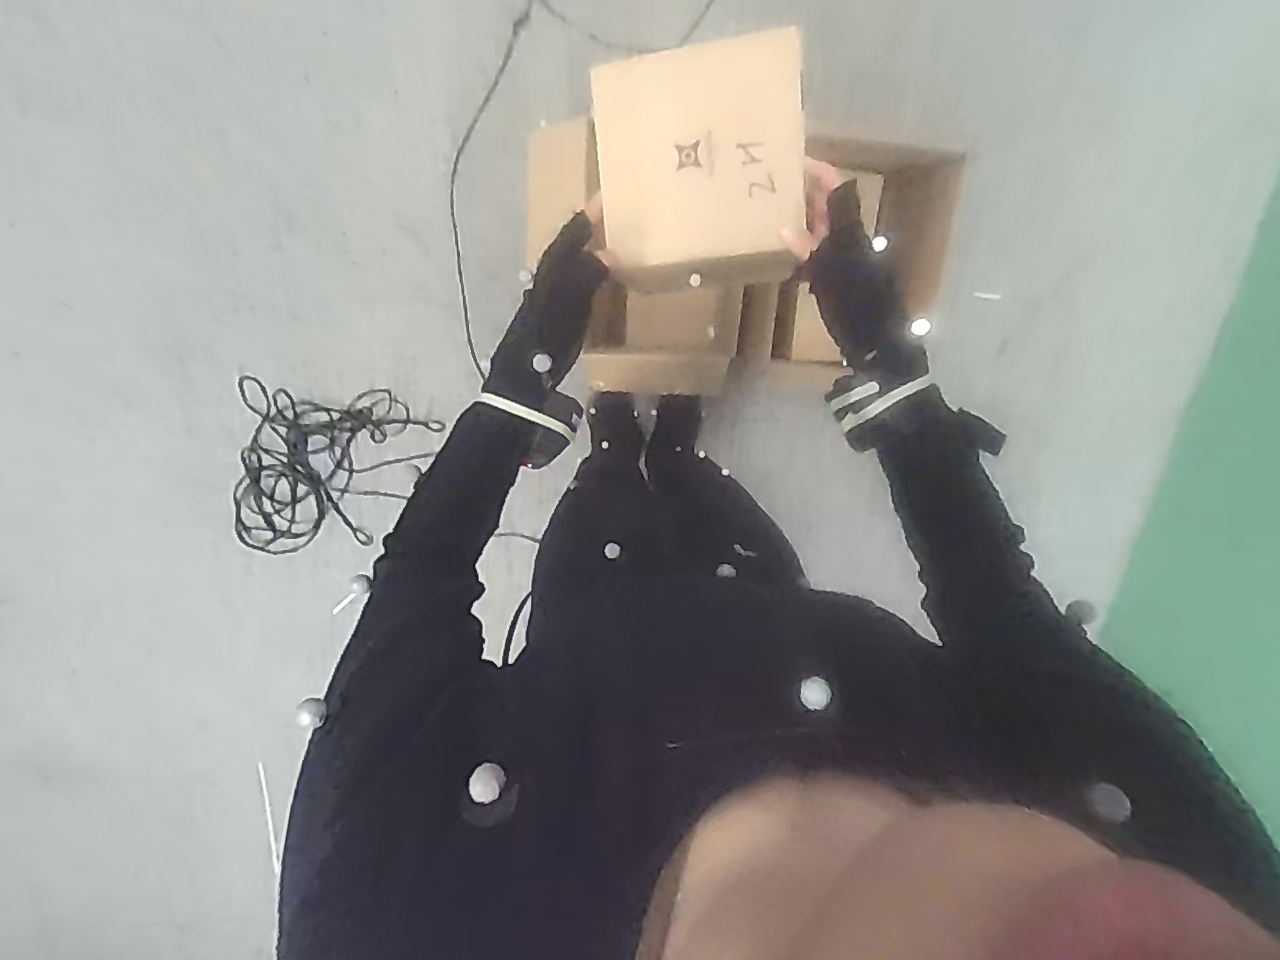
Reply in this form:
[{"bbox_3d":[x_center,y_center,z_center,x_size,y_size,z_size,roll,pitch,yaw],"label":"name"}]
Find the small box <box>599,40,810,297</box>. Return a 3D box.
[{"bbox_3d":[0.071,-0.285,0.541,0.179,0.176,0.168,-3,102,12],"label":"small box"}]
